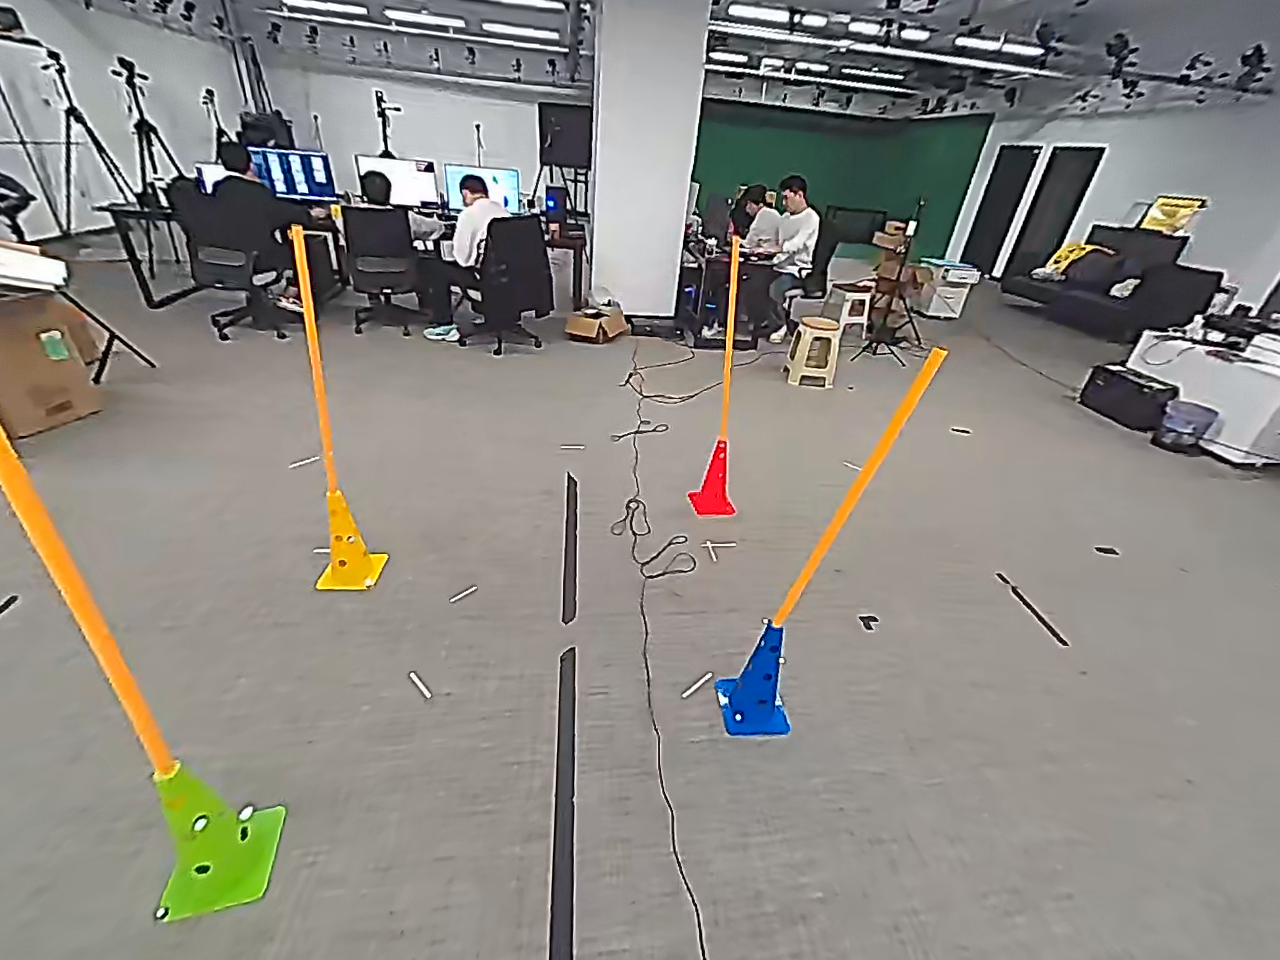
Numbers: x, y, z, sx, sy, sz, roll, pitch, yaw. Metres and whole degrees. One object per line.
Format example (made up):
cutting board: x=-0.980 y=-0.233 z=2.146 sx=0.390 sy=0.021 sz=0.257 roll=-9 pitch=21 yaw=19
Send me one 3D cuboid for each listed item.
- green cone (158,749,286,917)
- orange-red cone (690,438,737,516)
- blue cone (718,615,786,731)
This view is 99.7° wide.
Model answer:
green cone: x=-0.916 y=0.698 z=1.132 sx=0.200 sy=0.368 sz=0.202 roll=-4 pitch=30 yaw=-16
orange-red cone: x=0.369 y=-0.029 z=2.542 sx=0.199 sy=0.360 sz=0.198 roll=-3 pitch=31 yaw=-11
blue cone: x=0.360 y=0.554 z=1.596 sx=0.193 sy=0.380 sz=0.192 roll=3 pitch=30 yaw=-5
